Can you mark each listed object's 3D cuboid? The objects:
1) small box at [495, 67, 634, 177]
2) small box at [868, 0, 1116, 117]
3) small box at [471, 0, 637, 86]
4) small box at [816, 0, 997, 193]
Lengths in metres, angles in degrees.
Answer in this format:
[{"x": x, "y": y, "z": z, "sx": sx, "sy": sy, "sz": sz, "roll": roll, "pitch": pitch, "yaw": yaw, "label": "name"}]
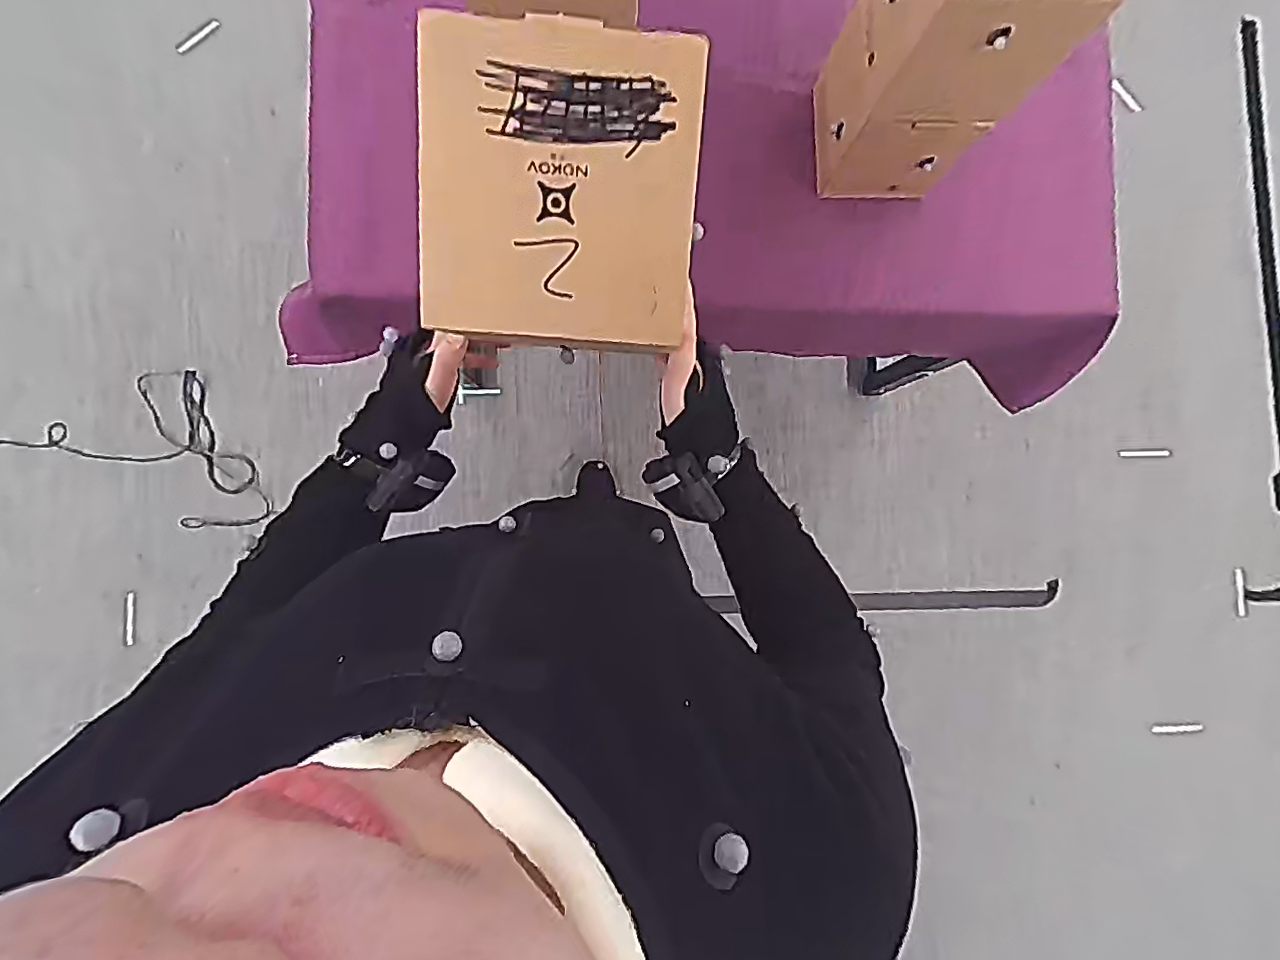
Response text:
[{"x": -0.096, "y": -0.539, "z": 0.720, "sx": 0.168, "sy": 0.176, "sz": 0.179, "roll": -2, "pitch": 89, "yaw": -3, "label": "small box"}, {"x": 0.360, "y": -0.524, "z": 0.578, "sx": 0.179, "sy": 0.176, "sz": 0.168, "roll": -2, "pitch": 89, "yaw": -4, "label": "small box"}, {"x": -0.088, "y": -0.546, "z": 0.556, "sx": 0.168, "sy": 0.176, "sz": 0.179, "roll": -3, "pitch": 88, "yaw": -4, "label": "small box"}, {"x": 0.352, "y": -0.521, "z": 0.742, "sx": 0.168, "sy": 0.176, "sz": 0.179, "roll": -1, "pitch": 88, "yaw": -3, "label": "small box"}]
